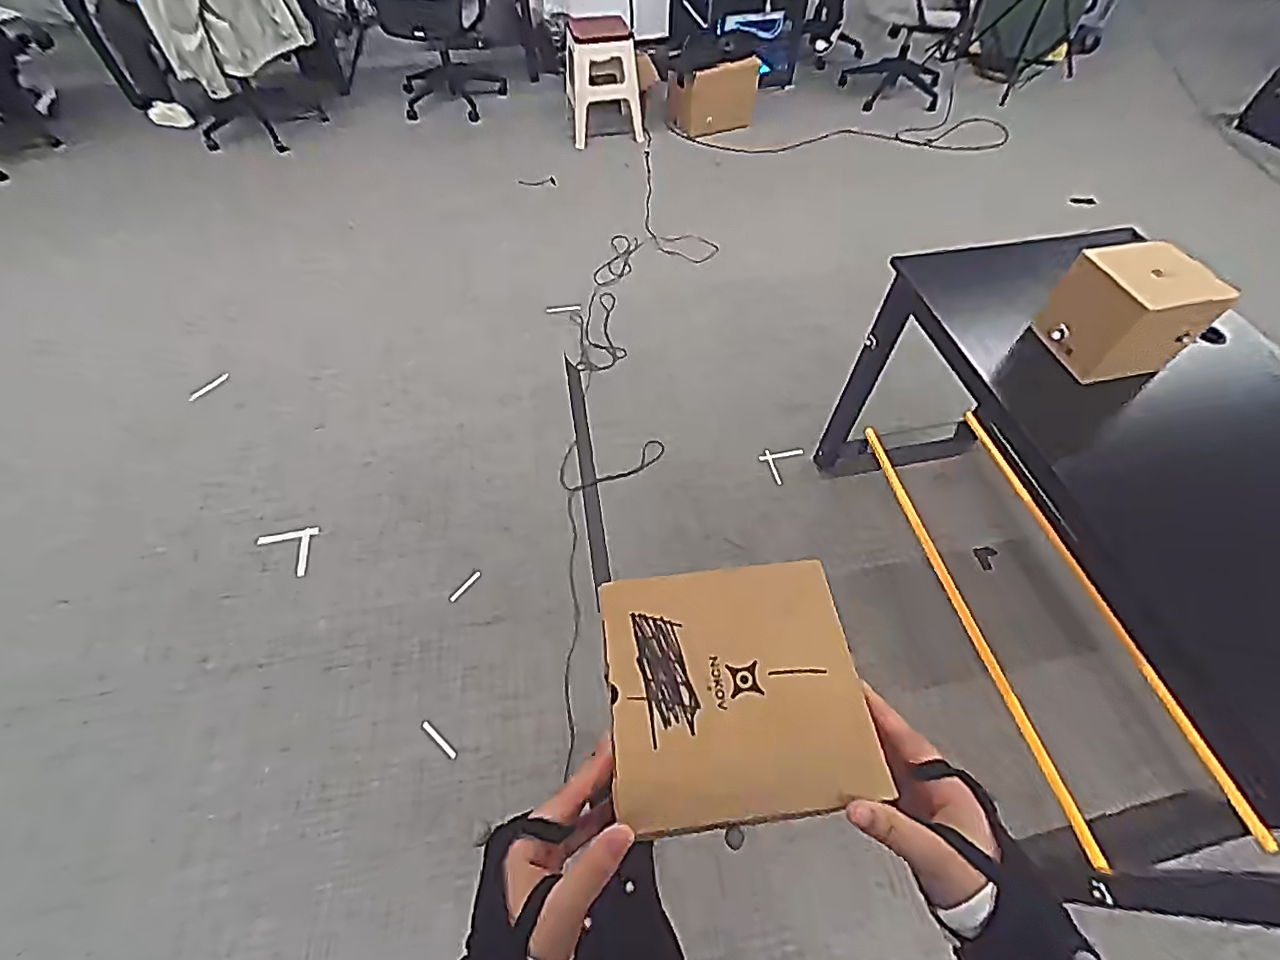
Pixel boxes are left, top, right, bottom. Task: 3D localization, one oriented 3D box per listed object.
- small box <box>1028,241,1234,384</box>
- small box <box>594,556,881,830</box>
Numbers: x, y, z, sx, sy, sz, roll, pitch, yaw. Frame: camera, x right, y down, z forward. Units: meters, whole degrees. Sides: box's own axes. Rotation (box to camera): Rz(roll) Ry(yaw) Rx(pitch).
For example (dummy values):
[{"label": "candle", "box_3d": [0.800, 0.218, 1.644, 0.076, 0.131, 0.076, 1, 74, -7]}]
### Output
[{"label": "small box", "box_3d": [0.862, -0.297, 0.972, 0.179, 0.176, 0.168, -11, 55, -7]}, {"label": "small box", "box_3d": [0.061, 0.181, 0.446, 0.179, 0.176, 0.168, -6, 56, -3]}]
